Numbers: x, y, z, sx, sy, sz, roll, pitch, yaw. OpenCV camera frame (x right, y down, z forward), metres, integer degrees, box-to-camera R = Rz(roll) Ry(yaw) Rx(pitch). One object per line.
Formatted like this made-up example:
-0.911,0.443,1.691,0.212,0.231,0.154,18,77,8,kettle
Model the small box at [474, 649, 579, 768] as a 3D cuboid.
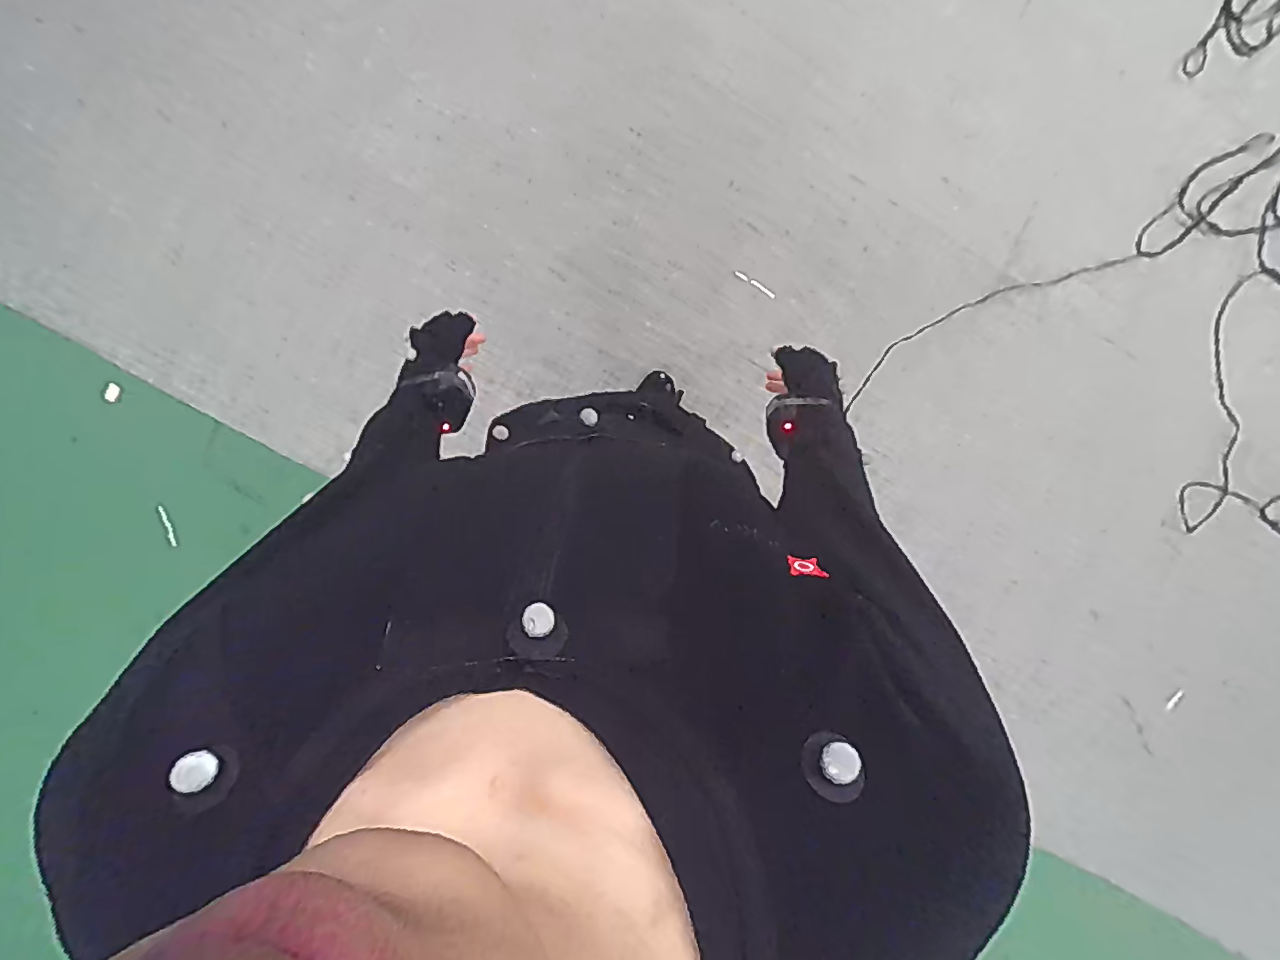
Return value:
-0.264,0.537,1.301,0.179,0.176,0.168,33,99,-9,small box
